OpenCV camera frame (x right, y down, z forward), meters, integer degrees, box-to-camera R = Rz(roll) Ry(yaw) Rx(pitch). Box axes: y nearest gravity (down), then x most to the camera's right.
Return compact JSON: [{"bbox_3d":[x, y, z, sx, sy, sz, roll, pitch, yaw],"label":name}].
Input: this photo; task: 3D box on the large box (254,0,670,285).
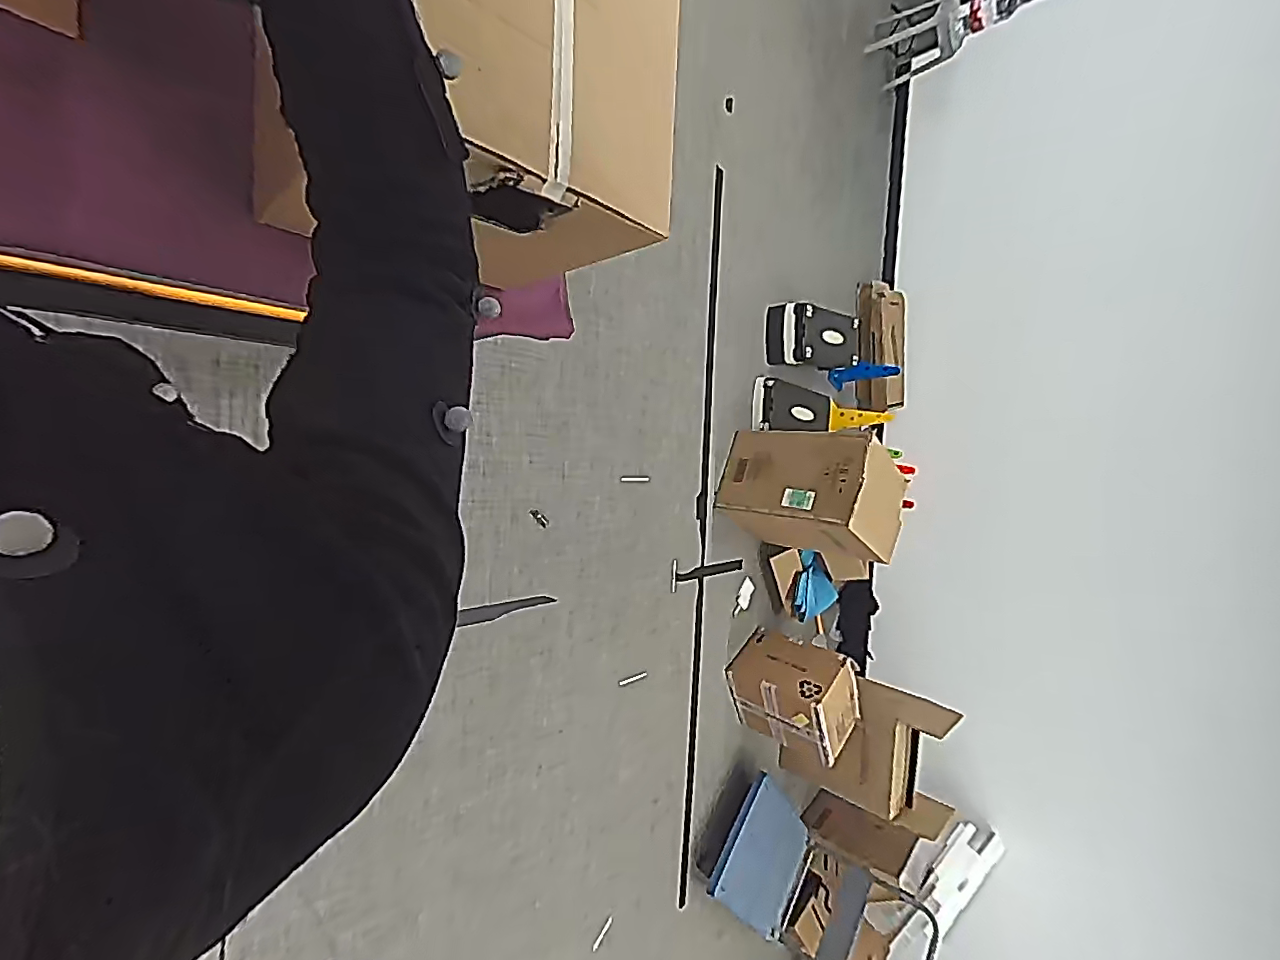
[{"bbox_3d":[-0.181,-0.461,0.556,0.320,0.320,0.408,-2,94,-48],"label":"large box"}]
